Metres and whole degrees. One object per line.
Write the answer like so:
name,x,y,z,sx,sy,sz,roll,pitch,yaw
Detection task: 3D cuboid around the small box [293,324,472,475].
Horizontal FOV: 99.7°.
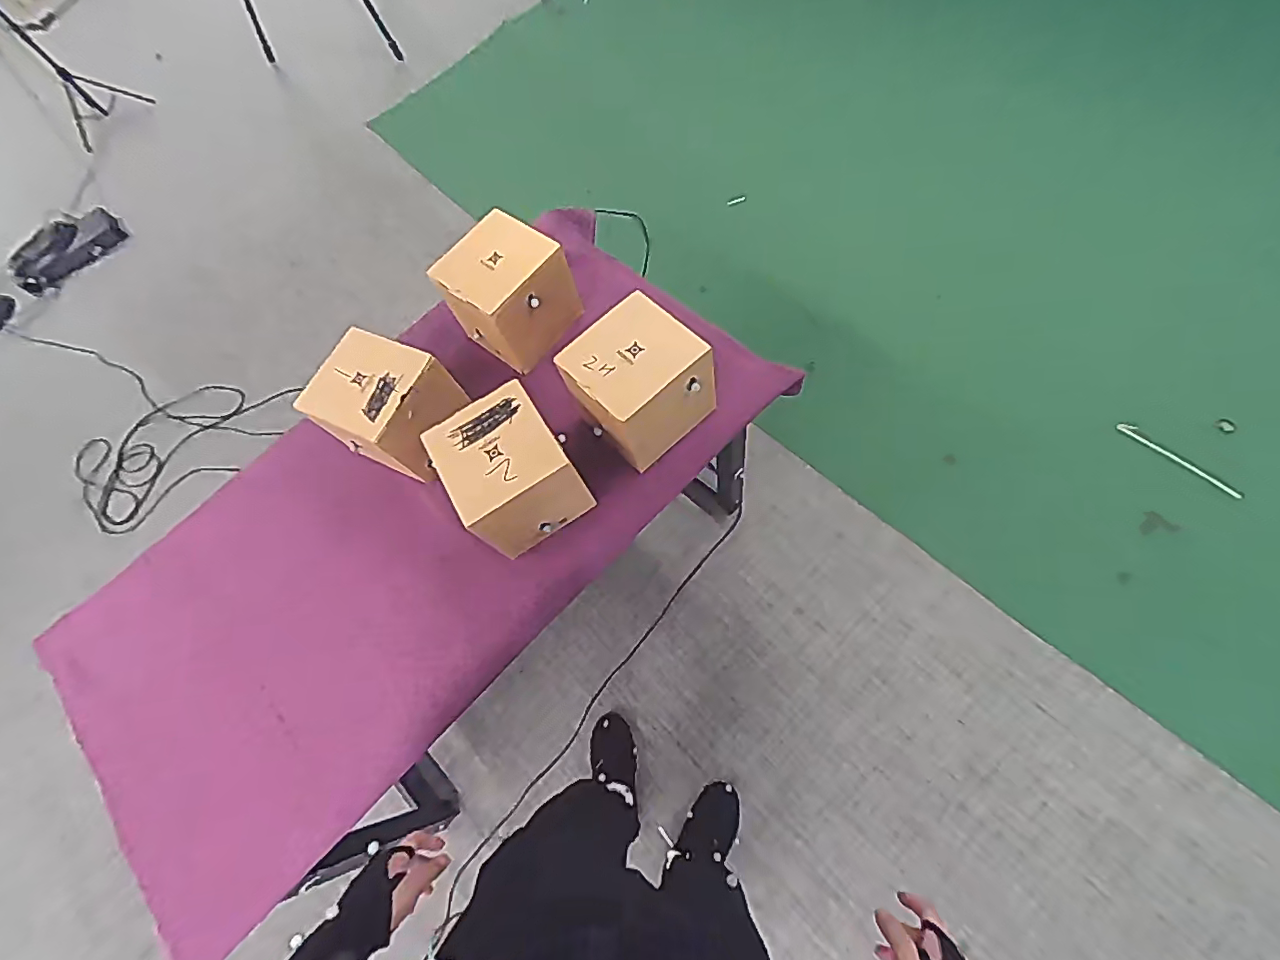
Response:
small box,-0.418,-0.126,0.910,0.179,0.176,0.168,22,73,17

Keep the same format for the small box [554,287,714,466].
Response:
small box,0.000,-0.155,0.848,0.179,0.176,0.168,-41,66,-7

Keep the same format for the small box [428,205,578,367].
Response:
small box,-0.230,-0.340,0.967,0.168,0.176,0.179,36,79,20
